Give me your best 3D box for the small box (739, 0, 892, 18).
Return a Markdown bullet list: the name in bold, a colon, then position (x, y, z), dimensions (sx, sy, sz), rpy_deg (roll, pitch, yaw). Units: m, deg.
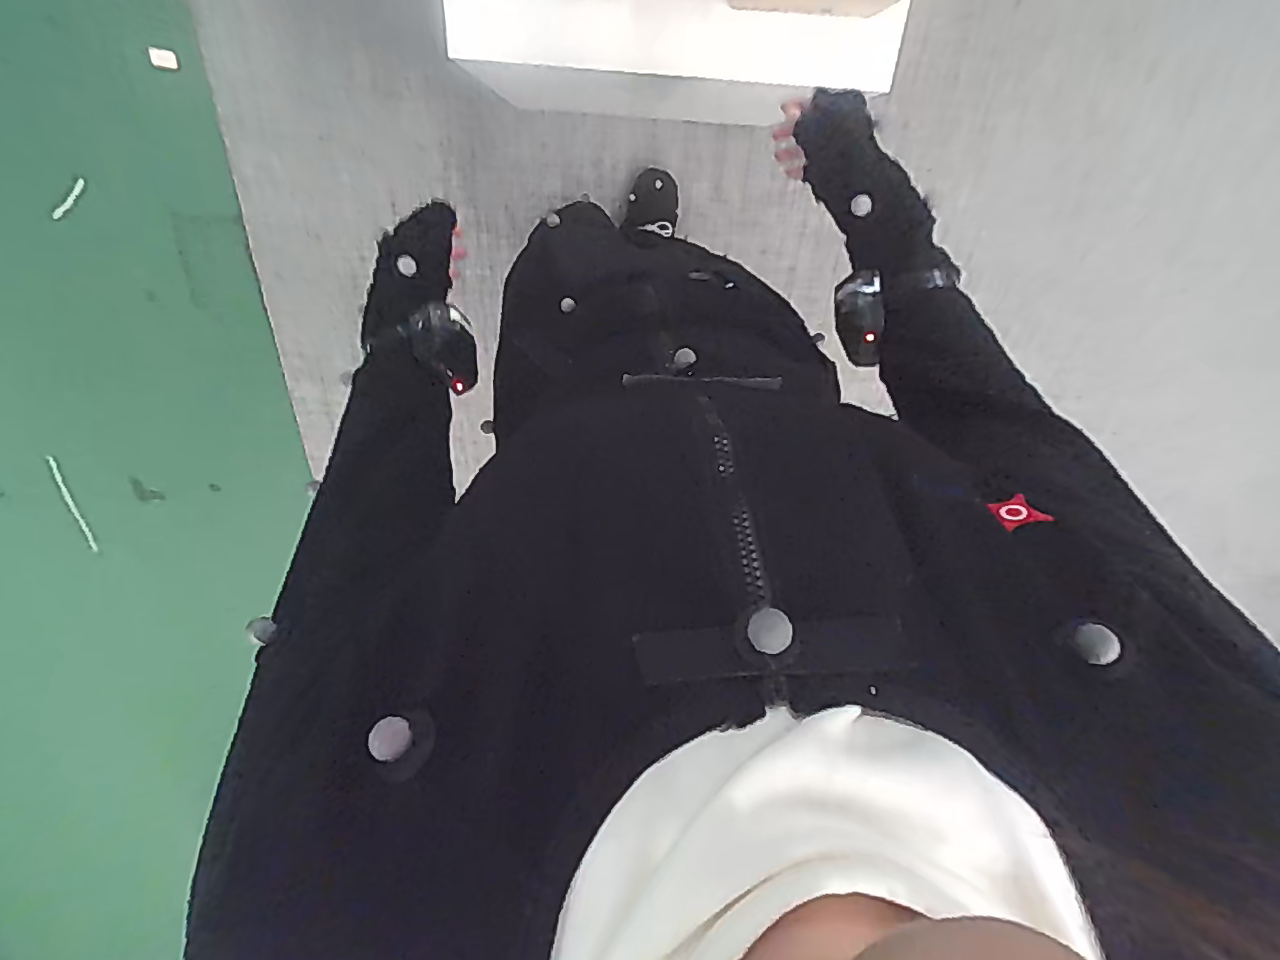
- **small box**: position (0.183, -0.550, 0.479), dimensions (0.168, 0.176, 0.179), rpy_deg (1, 119, -4)
